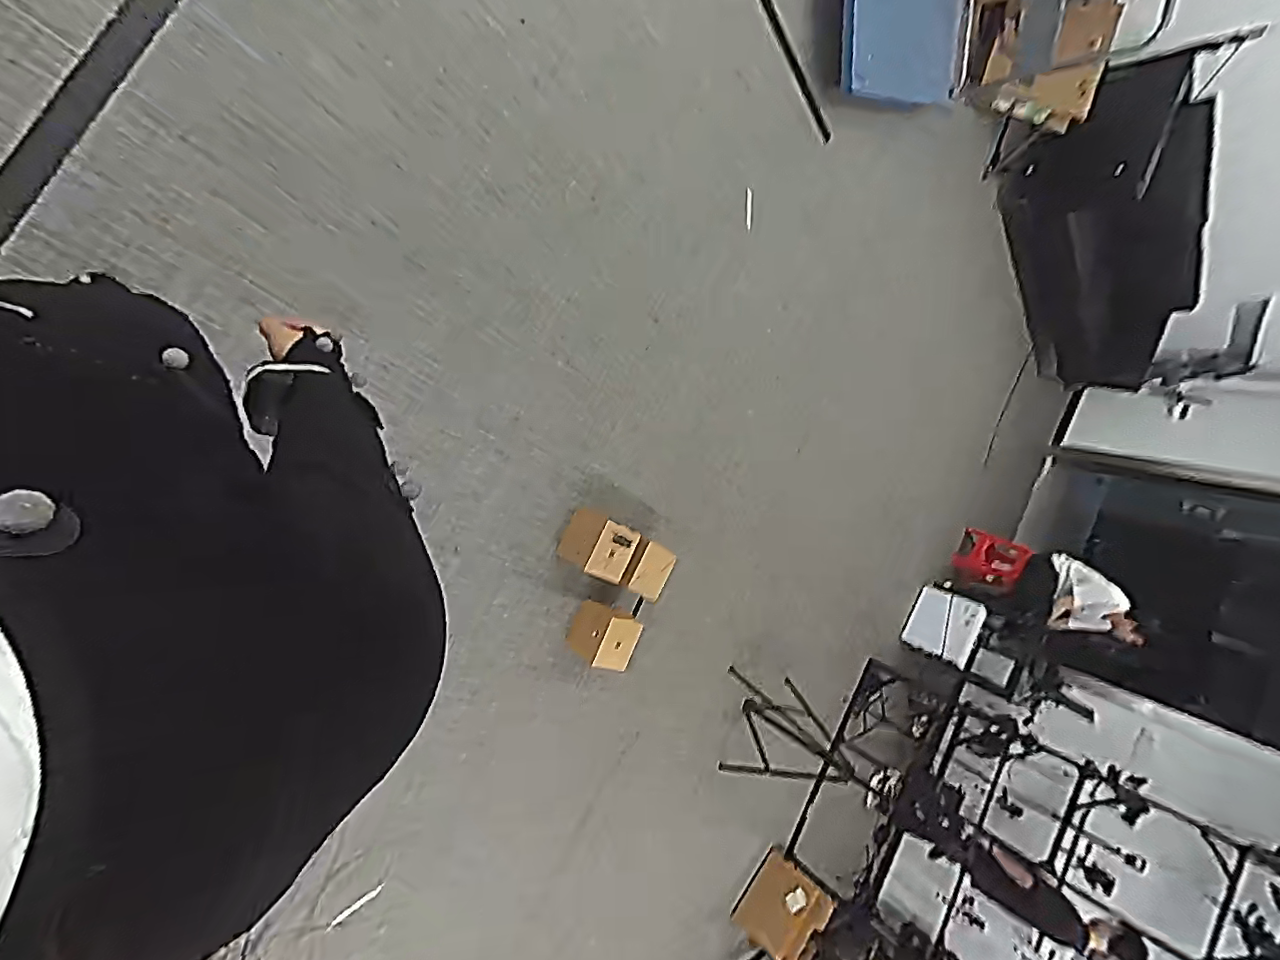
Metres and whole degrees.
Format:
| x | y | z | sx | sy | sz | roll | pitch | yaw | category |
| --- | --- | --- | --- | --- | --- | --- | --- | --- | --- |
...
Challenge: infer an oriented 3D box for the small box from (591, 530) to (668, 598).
| x | y | z | sx | sy | sz | roll | pitch | yaw | category |
| --- | --- | --- | --- | --- | --- | --- | --- | --- | --- |
| -0.034 | 0.303 | 1.917 | 0.168 | 0.176 | 0.179 | 35 | 80 | -43 | small box |
